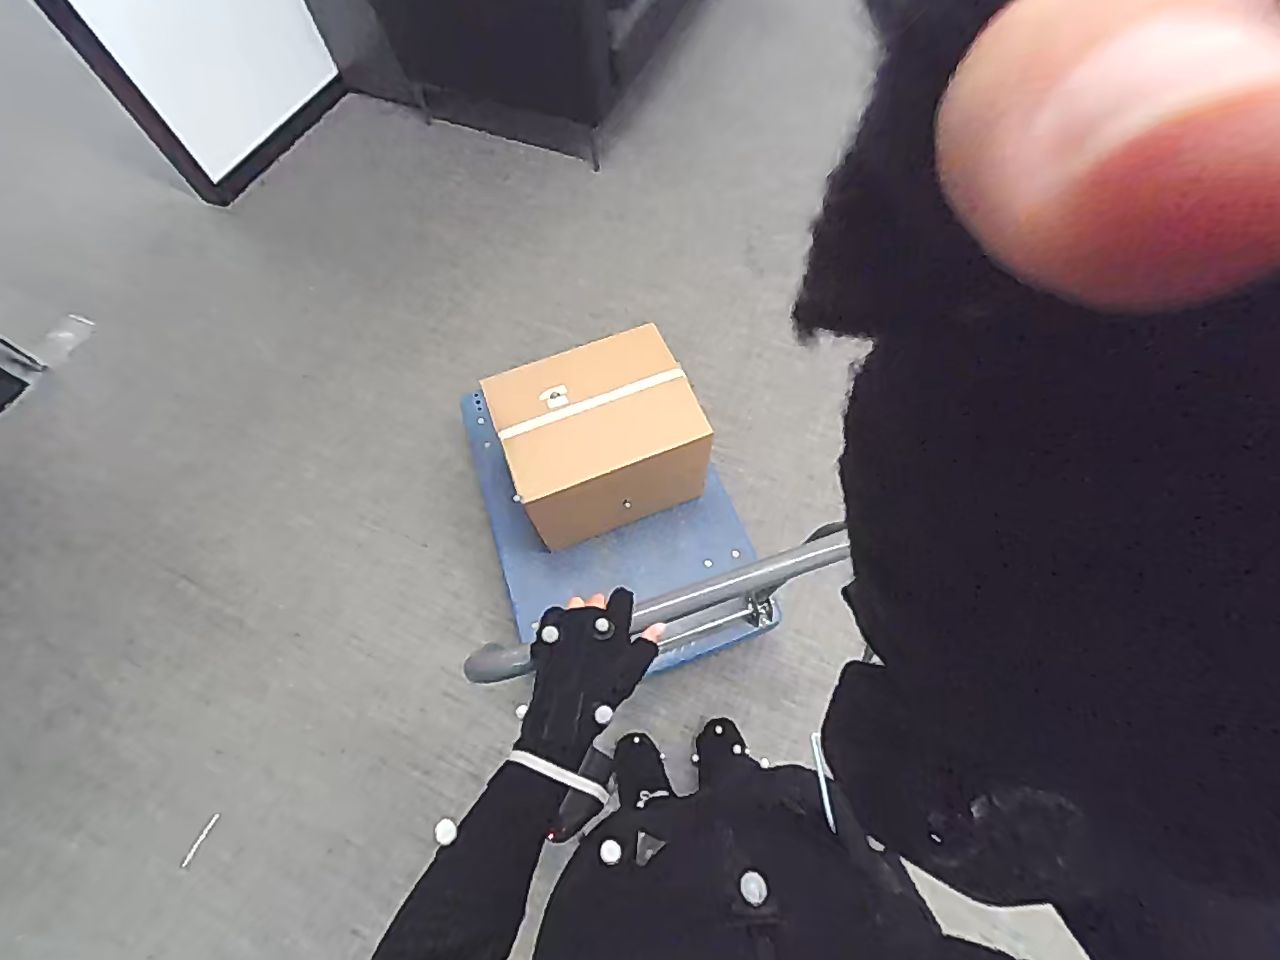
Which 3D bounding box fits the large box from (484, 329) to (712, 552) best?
[{"bbox_3d":[-0.088,-0.079,1.252,0.408,0.320,0.320,-21,65,-8],"label":"large box"}]
